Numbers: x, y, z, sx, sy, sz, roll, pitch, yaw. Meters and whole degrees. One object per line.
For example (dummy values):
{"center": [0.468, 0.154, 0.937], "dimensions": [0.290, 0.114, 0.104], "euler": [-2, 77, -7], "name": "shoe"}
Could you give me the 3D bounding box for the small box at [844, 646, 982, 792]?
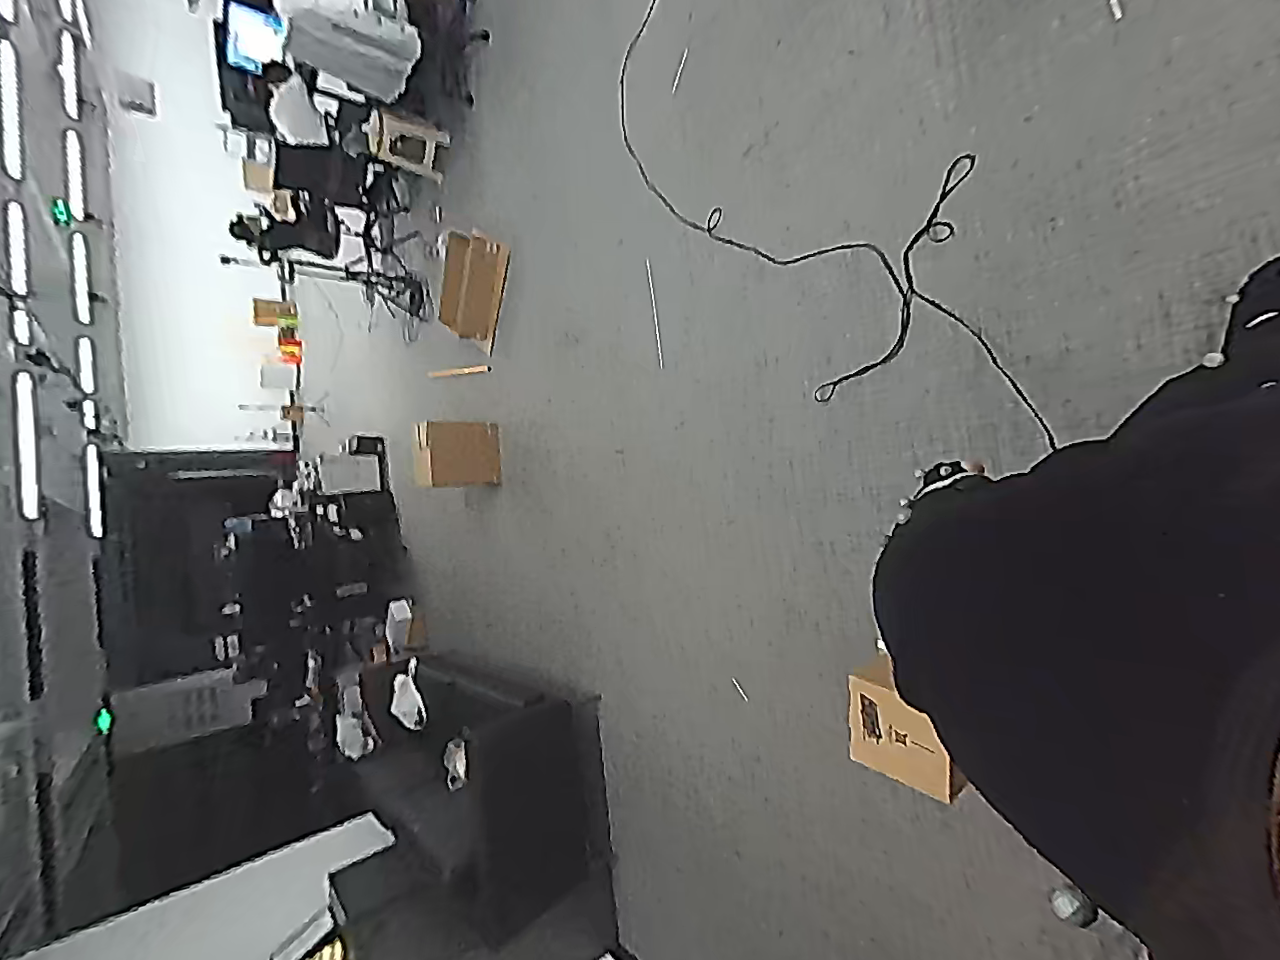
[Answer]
{"center": [0.497, 0.421, 0.991], "dimensions": [0.179, 0.176, 0.168], "euler": [5, 100, 49], "name": "small box"}
